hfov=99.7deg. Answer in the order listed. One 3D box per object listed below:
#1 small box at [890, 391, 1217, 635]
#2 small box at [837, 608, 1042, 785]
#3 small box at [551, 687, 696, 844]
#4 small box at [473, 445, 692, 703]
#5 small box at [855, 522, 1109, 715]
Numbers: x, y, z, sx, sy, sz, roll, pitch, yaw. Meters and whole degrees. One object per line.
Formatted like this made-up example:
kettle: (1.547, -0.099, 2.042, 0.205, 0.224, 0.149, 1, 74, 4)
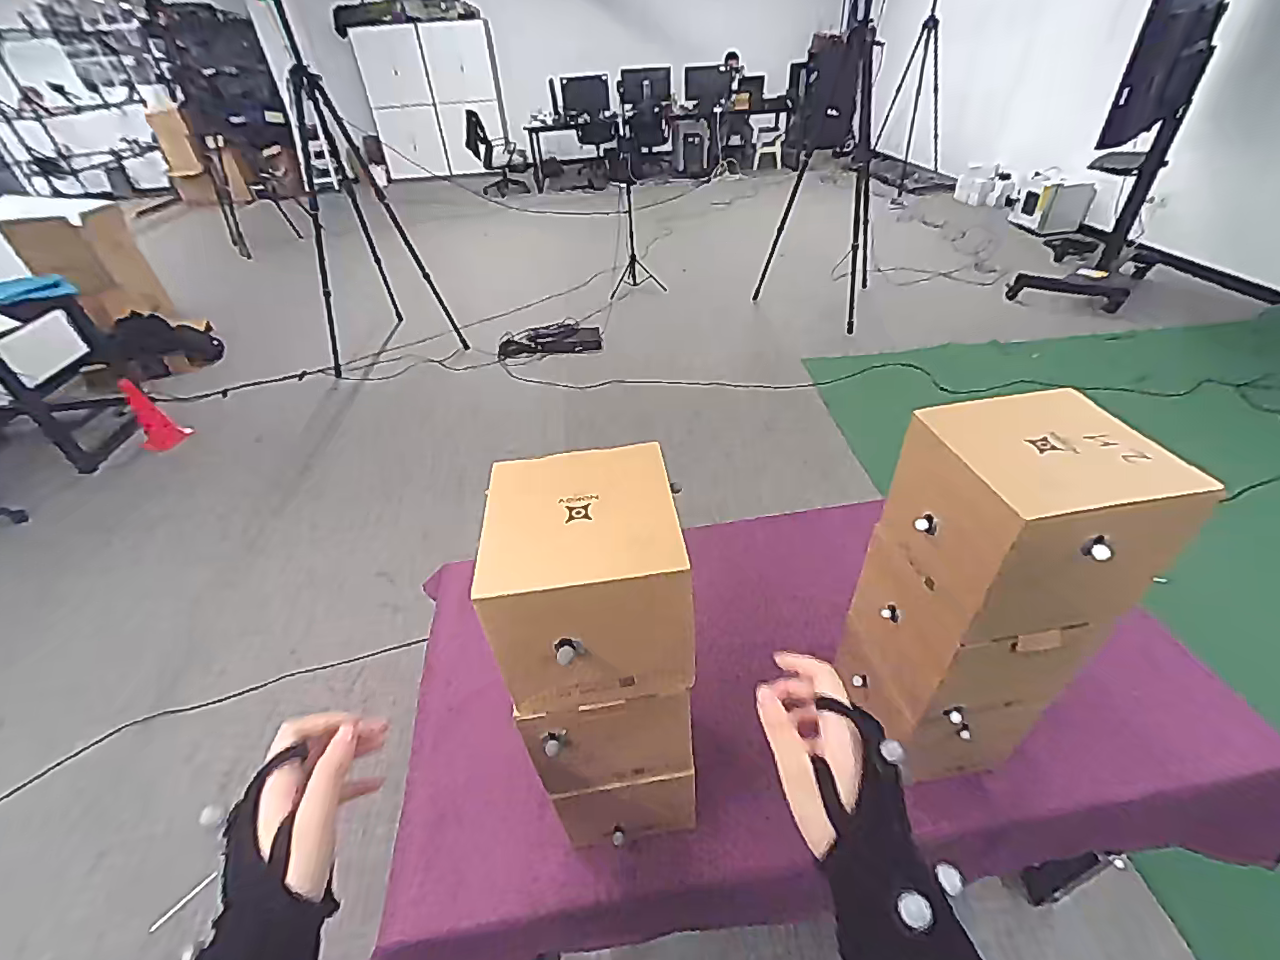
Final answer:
small box: (0.373, 0.034, 0.537, 0.179, 0.176, 0.168, -8, 41, -4)
small box: (0.392, 0.285, 0.749, 0.168, 0.176, 0.179, -9, 39, -3)
small box: (-0.023, 0.348, 0.719, 0.168, 0.176, 0.179, -8, 40, -3)
small box: (-0.045, 0.091, 0.516, 0.168, 0.176, 0.179, -8, 38, -2)
small box: (0.381, 0.158, 0.645, 0.168, 0.176, 0.179, -8, 39, -4)
